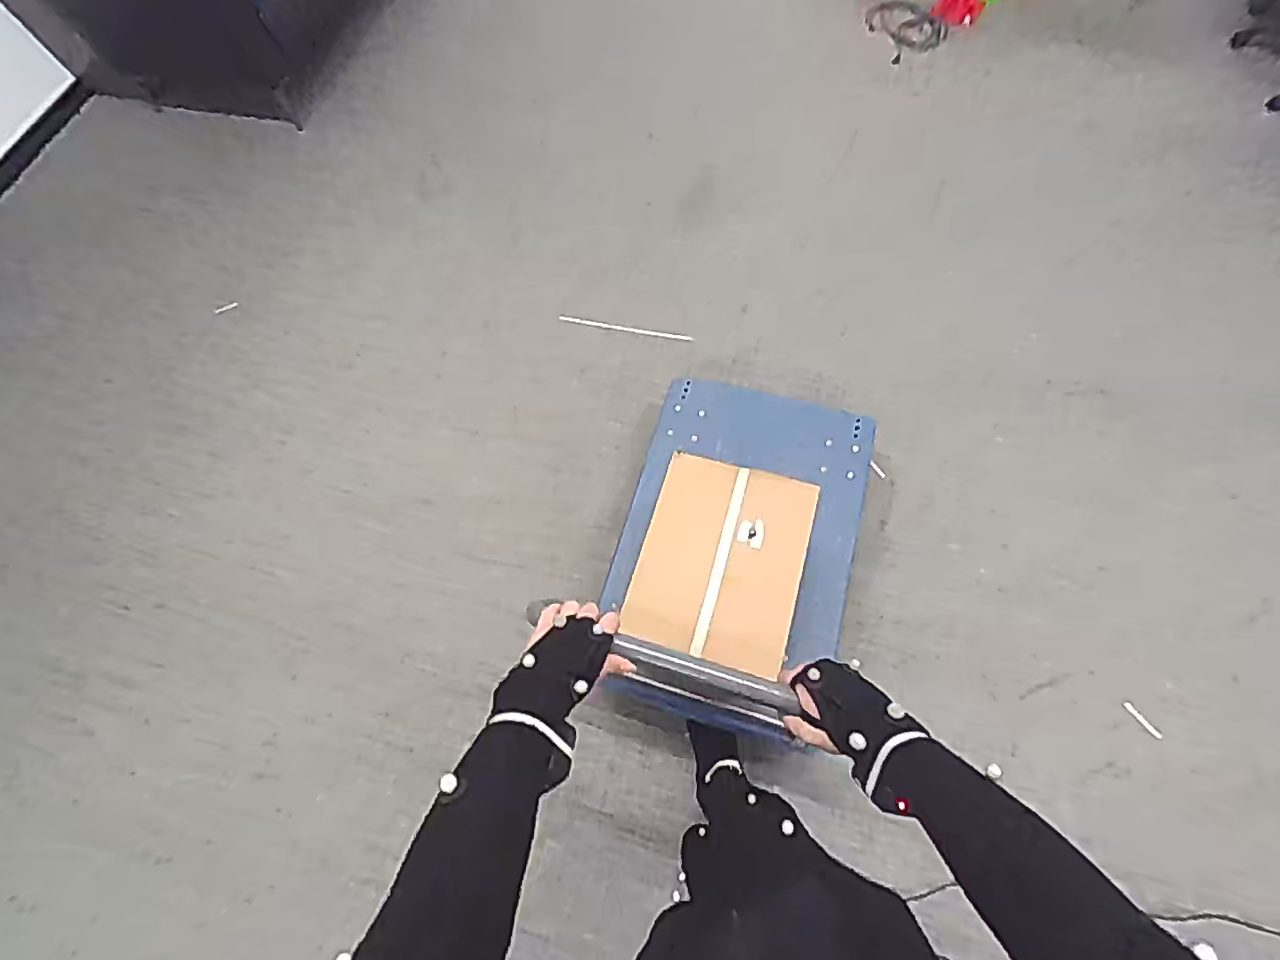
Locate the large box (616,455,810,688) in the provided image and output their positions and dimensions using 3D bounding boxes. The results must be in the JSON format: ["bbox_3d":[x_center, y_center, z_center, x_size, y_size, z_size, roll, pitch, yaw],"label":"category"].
[{"bbox_3d":[0.168,0.215,1.218,0.320,0.320,0.408,15,69,11],"label":"large box"}]
